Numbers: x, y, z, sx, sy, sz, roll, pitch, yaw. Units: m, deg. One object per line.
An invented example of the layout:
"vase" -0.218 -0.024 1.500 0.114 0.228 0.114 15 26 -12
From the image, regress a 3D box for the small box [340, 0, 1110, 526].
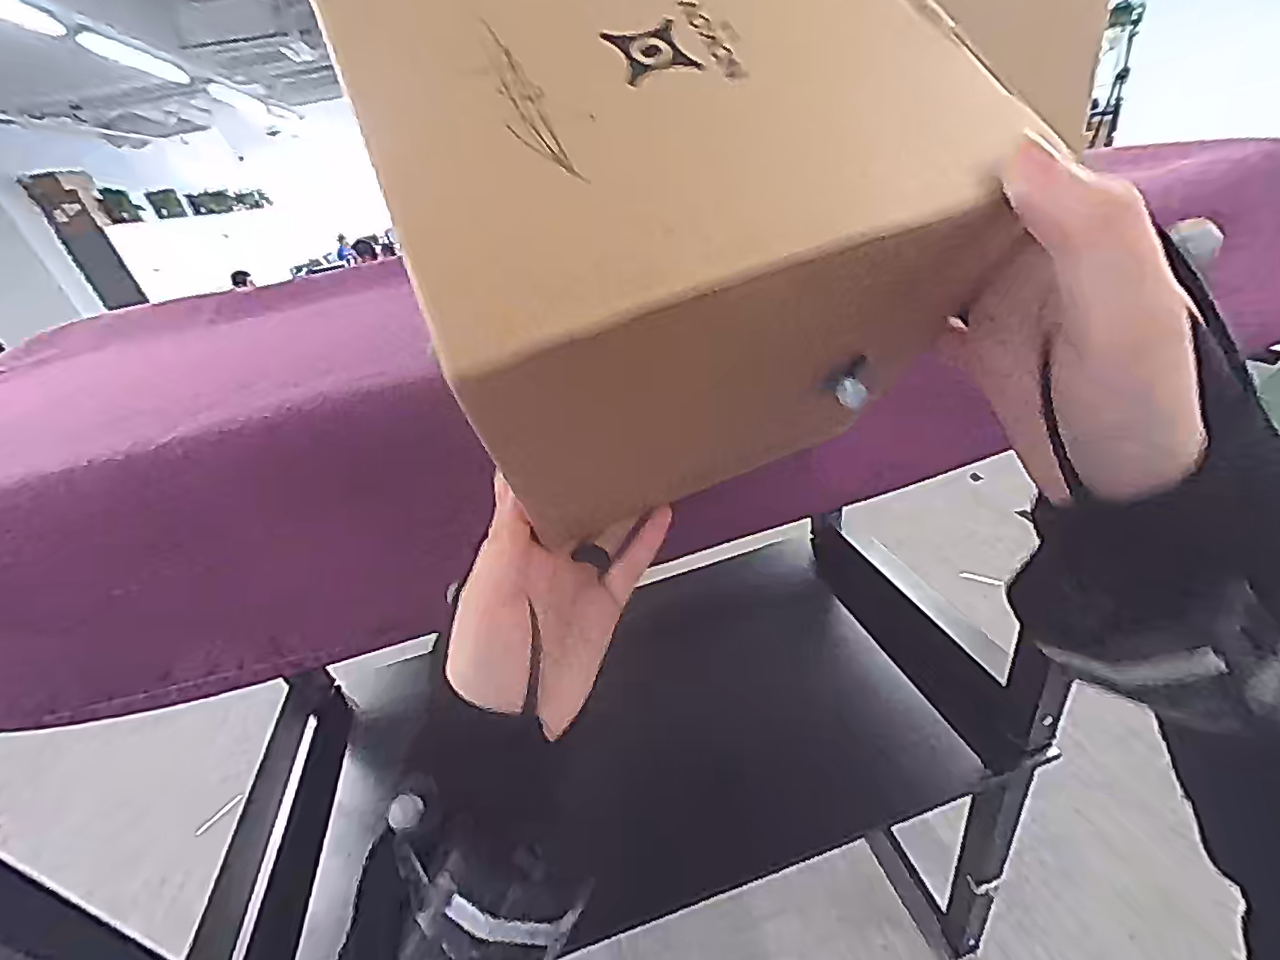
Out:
"small box" 0.010 -0.100 0.223 0.179 0.176 0.168 -21 72 -9
